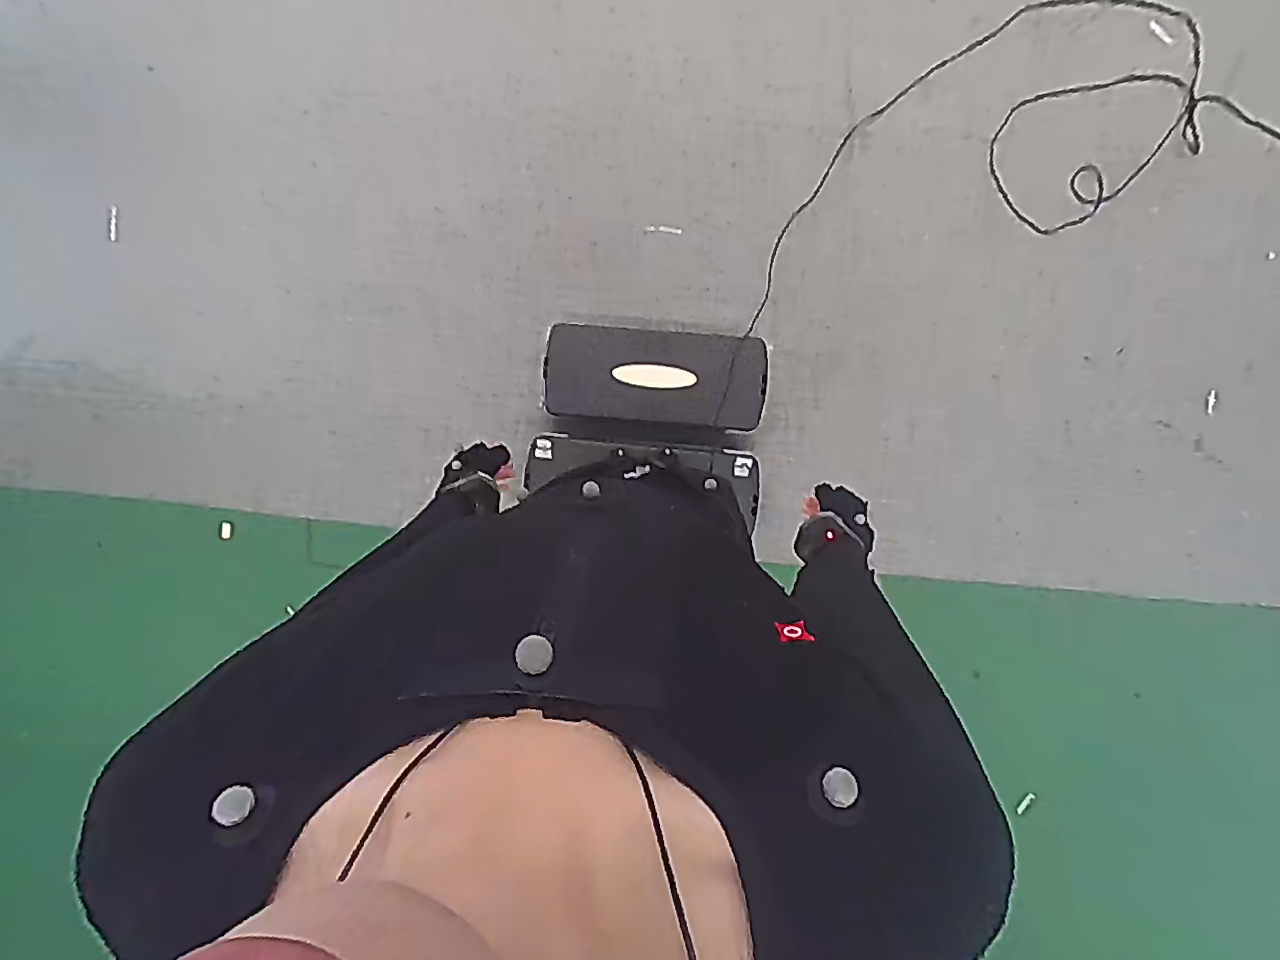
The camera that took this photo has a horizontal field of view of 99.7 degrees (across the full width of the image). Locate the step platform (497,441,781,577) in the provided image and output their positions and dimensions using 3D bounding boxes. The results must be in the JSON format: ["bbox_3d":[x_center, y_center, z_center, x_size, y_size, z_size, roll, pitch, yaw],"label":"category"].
[{"bbox_3d":[-0.002,0.065,1.390,0.684,0.204,0.286,5,93,1],"label":"step platform"}]
